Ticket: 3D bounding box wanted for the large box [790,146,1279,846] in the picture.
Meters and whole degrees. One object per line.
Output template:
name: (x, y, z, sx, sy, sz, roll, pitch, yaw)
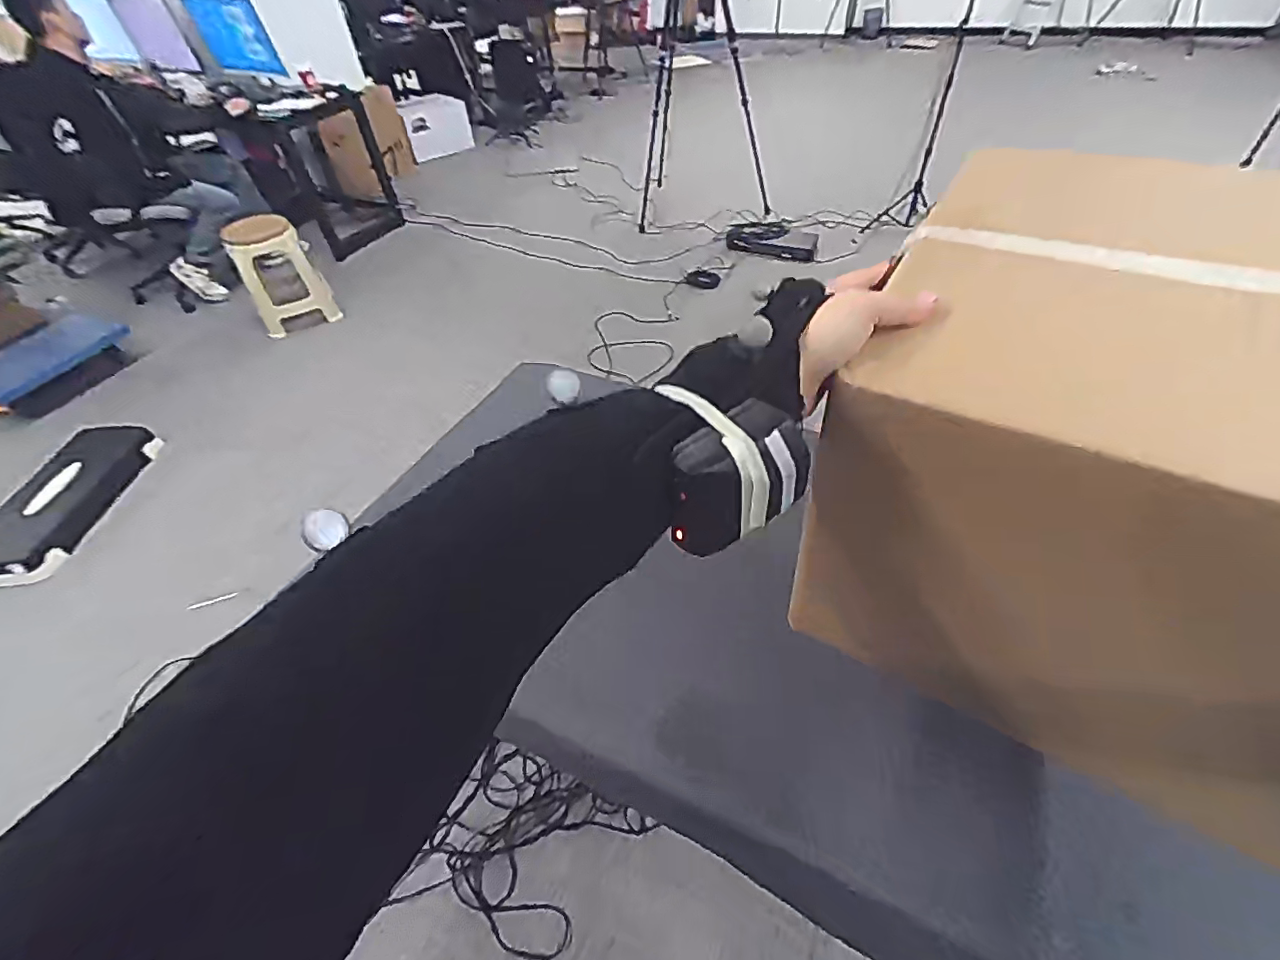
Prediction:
large box: (0.369, -0.001, 0.395, 0.408, 0.320, 0.320, 23, 59, 24)
